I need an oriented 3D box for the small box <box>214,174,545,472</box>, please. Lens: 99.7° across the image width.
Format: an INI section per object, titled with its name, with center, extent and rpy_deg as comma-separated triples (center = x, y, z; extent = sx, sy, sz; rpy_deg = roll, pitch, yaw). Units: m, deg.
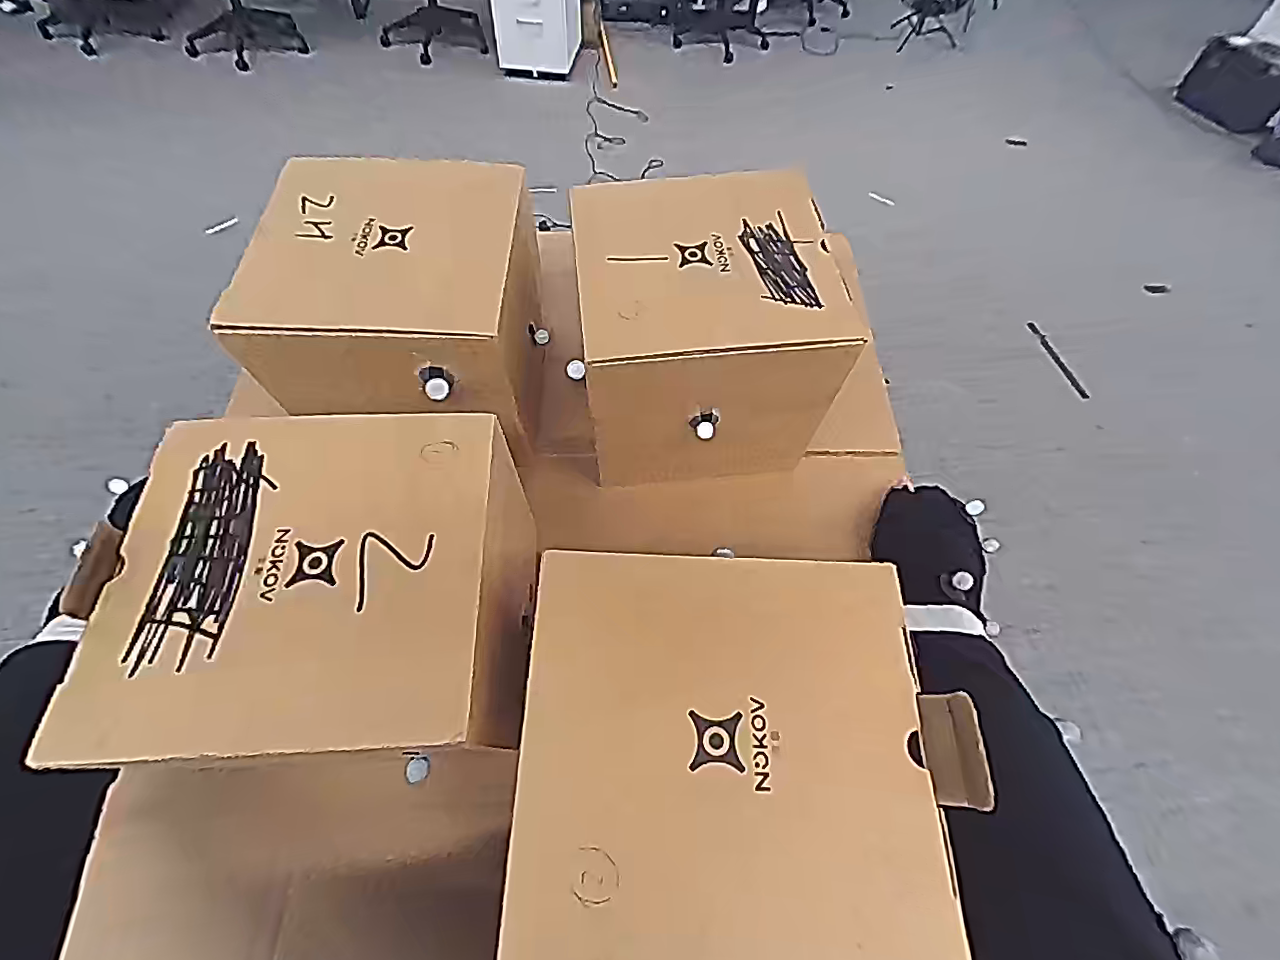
[small box]
center = -0.178, -0.116, 0.443
extent = 0.179, 0.176, 0.168
rpy_deg = 1, 62, 0
